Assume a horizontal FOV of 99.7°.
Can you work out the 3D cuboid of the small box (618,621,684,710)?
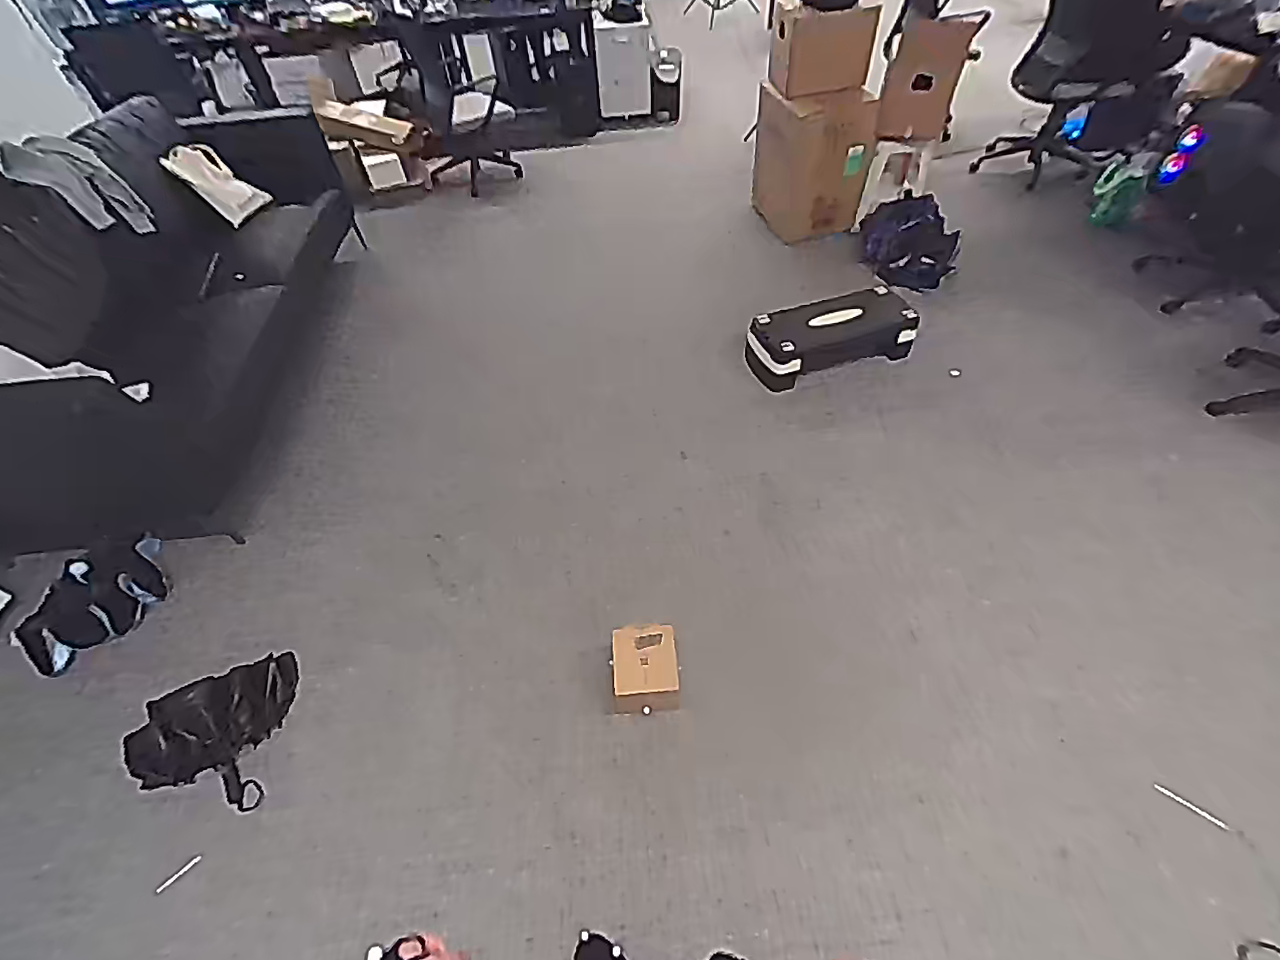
[{"bbox_3d":[0.030,0.505,1.469,0.168,0.176,0.179,-5,51,1],"label":"small box"}]
